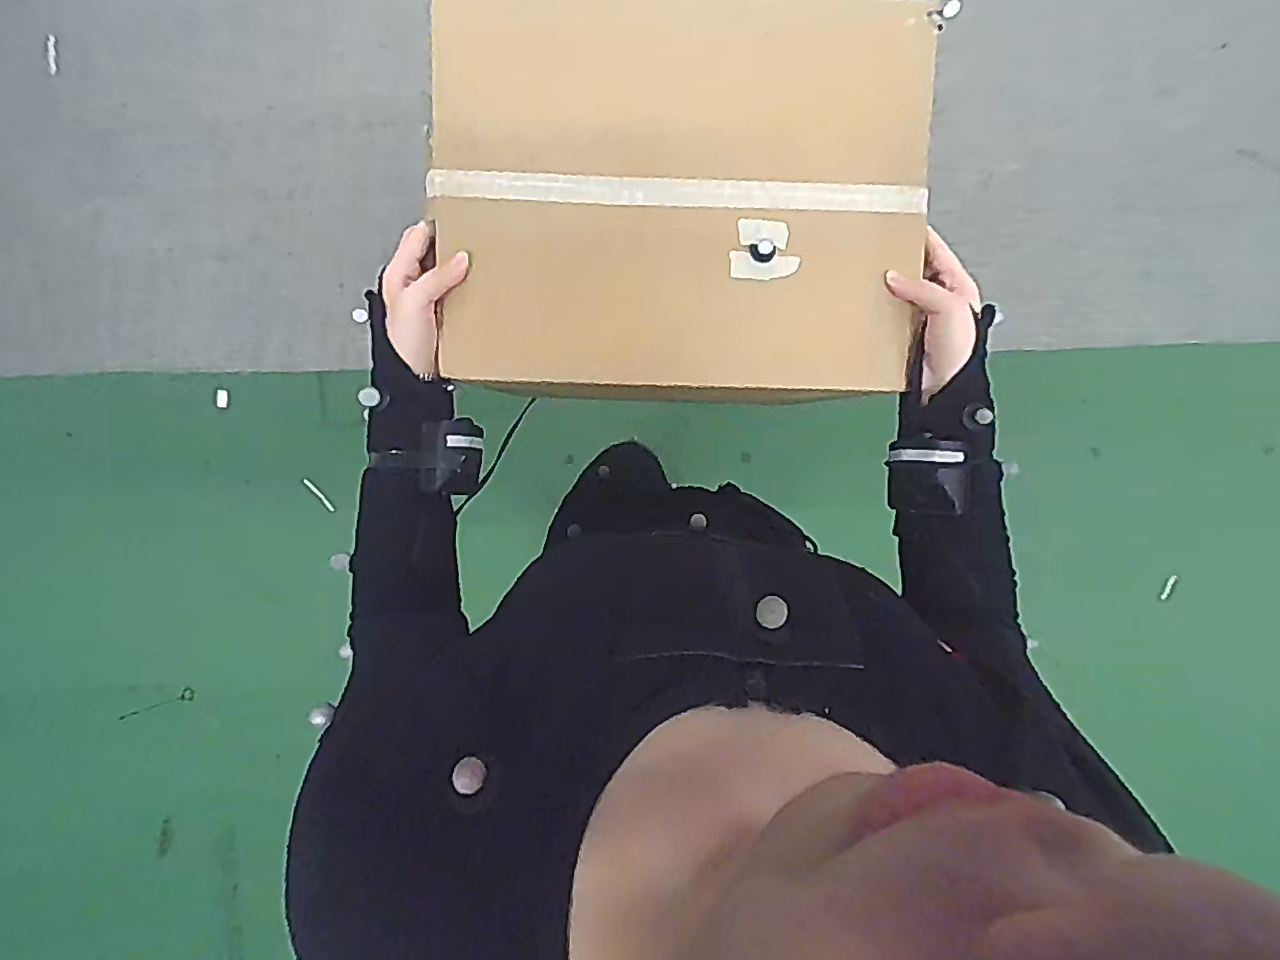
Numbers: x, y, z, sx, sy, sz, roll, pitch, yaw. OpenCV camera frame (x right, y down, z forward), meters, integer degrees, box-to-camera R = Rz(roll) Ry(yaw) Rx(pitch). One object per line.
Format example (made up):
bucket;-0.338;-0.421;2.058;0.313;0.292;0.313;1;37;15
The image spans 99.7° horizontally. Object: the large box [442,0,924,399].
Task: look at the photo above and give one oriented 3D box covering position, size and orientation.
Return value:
large box;0.029;-0.255;0.601;0.408;0.320;0.320;1;96;-3
